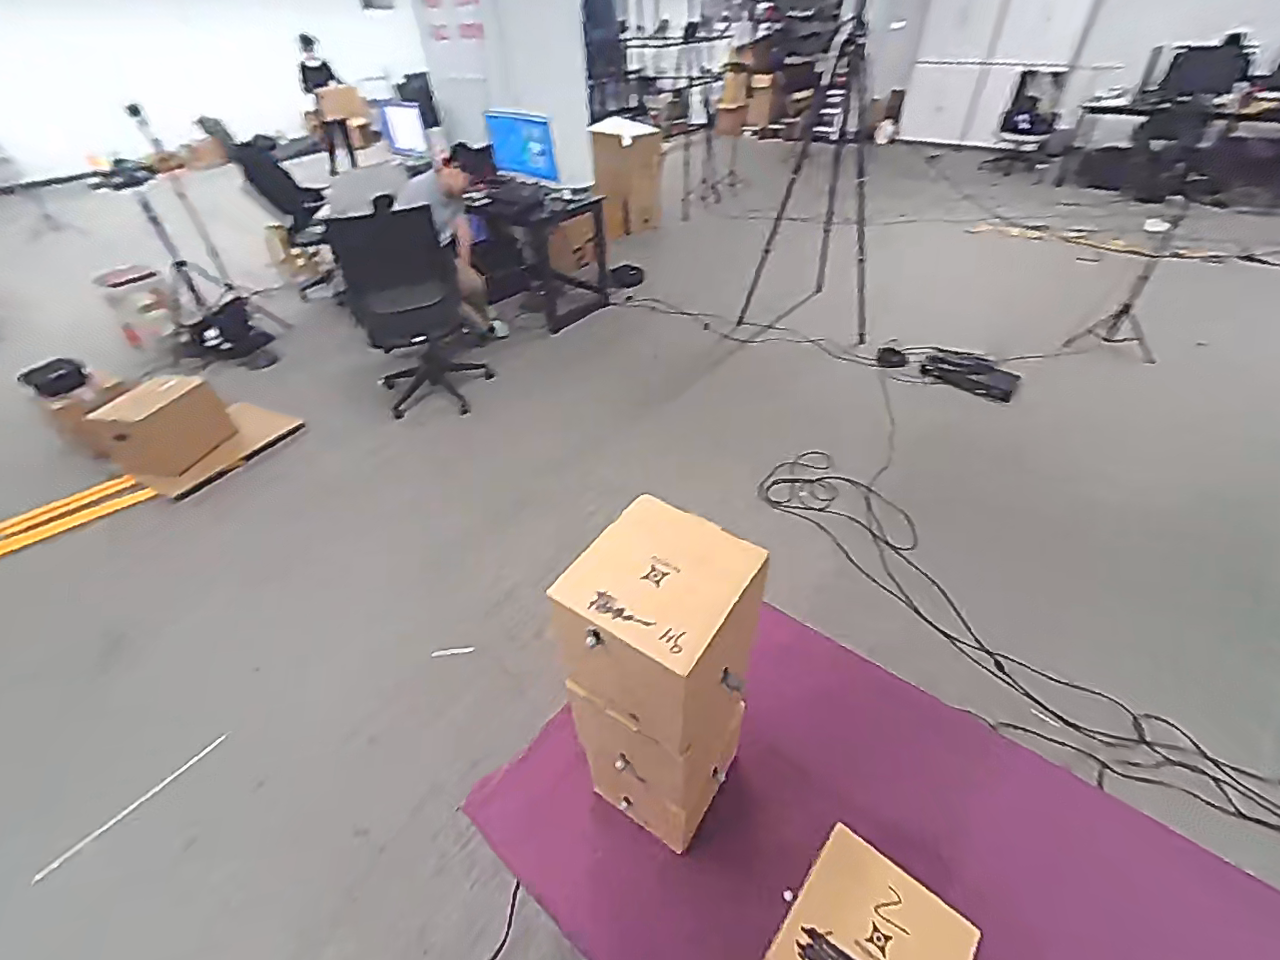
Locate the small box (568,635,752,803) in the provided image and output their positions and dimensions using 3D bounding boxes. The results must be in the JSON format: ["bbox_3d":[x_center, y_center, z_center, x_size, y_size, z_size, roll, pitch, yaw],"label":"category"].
[{"bbox_3d":[0.028,0.274,0.708,0.168,0.176,0.179,22,47,26],"label":"small box"}]

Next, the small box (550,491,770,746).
[{"bbox_3d":[0.024,0.149,0.602,0.168,0.176,0.179,24,47,28],"label":"small box"}]

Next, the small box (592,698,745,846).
[{"bbox_3d":[0.040,0.400,0.814,0.168,0.176,0.179,23,48,26],"label":"small box"}]
